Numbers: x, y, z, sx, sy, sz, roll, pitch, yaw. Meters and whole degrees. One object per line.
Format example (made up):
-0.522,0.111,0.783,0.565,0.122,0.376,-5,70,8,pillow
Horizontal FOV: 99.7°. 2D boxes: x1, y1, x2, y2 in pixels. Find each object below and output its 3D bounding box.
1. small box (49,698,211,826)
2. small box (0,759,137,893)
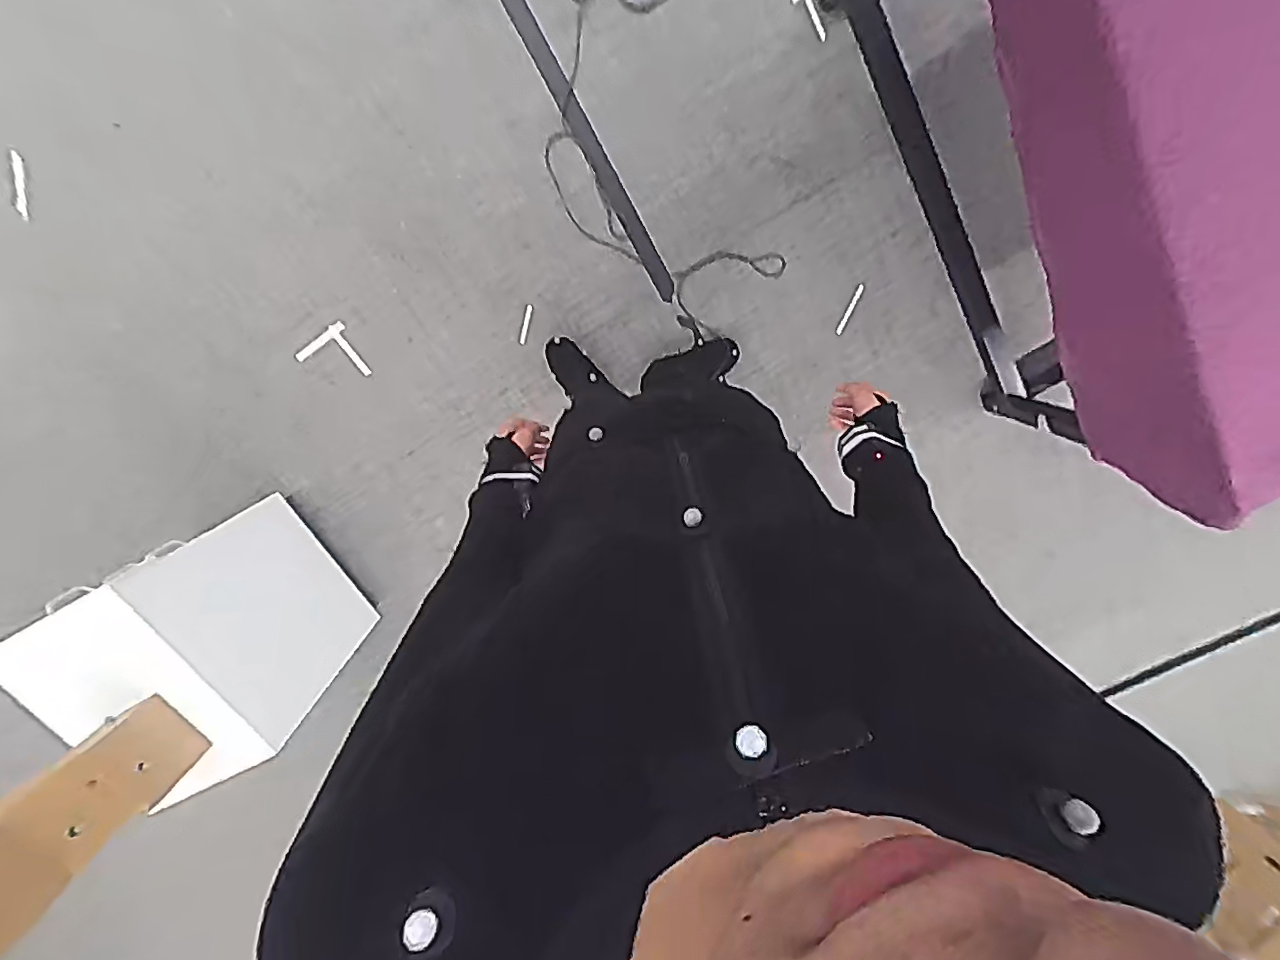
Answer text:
-1.087,0.610,1.156,0.168,0.176,0.179,-30,106,9,small box
-1.103,0.660,1.002,0.179,0.176,0.168,-28,107,10,small box
